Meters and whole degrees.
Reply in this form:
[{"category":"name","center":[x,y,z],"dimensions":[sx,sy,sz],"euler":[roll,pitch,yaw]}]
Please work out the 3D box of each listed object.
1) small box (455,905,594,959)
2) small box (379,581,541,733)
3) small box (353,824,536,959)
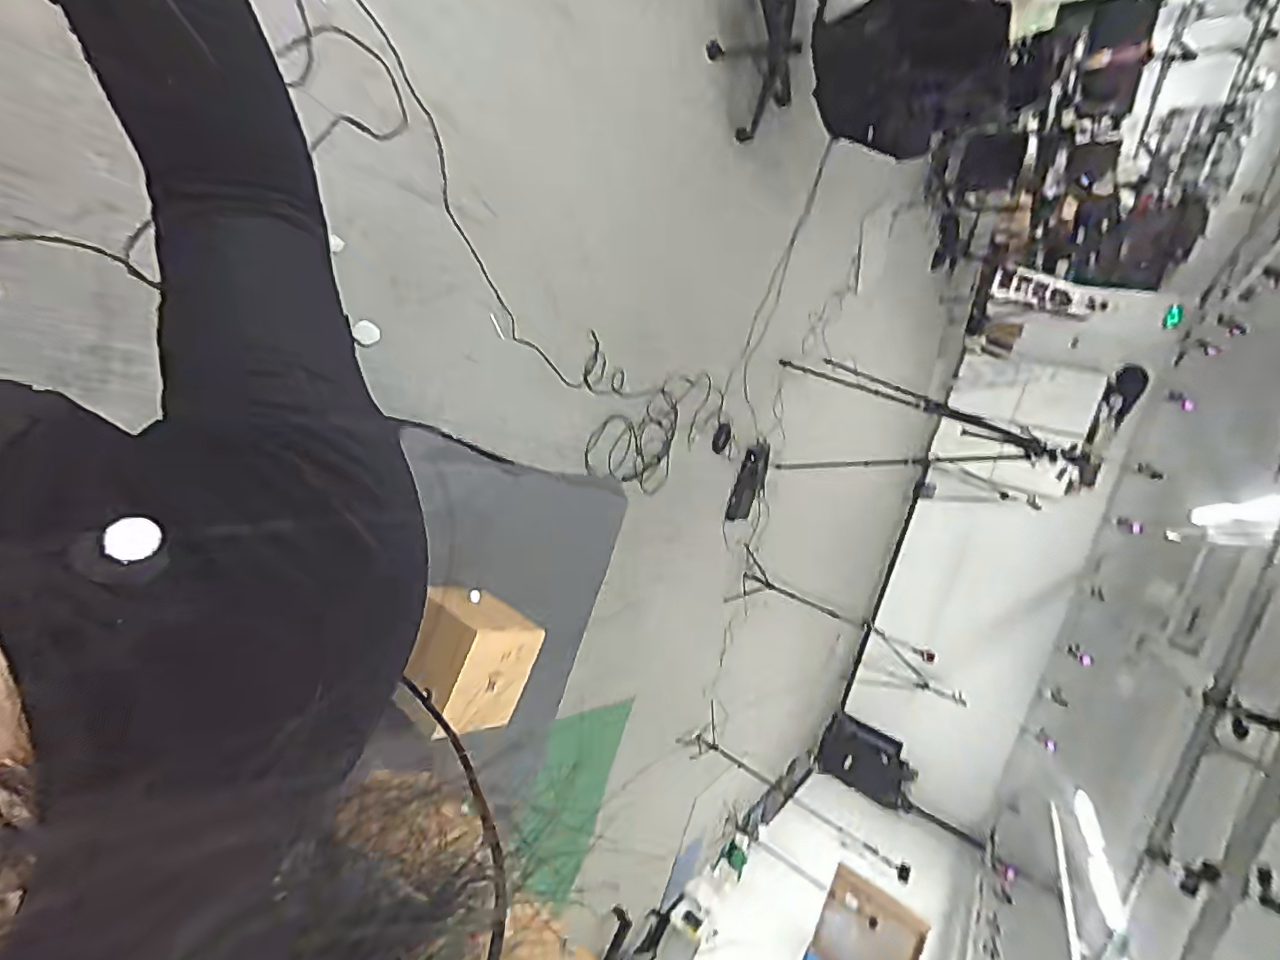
[{"category":"small box","center":[-0.173,0.720,0.737],"dimensions":[0.179,0.176,0.168],"euler":[-55,145,-20]},{"category":"small box","center":[-0.307,0.291,0.912],"dimensions":[0.168,0.176,0.179],"euler":[27,85,-57]},{"category":"small box","center":[-0.301,0.673,0.826],"dimensions":[0.179,0.176,0.168],"euler":[-54,144,-22]}]
